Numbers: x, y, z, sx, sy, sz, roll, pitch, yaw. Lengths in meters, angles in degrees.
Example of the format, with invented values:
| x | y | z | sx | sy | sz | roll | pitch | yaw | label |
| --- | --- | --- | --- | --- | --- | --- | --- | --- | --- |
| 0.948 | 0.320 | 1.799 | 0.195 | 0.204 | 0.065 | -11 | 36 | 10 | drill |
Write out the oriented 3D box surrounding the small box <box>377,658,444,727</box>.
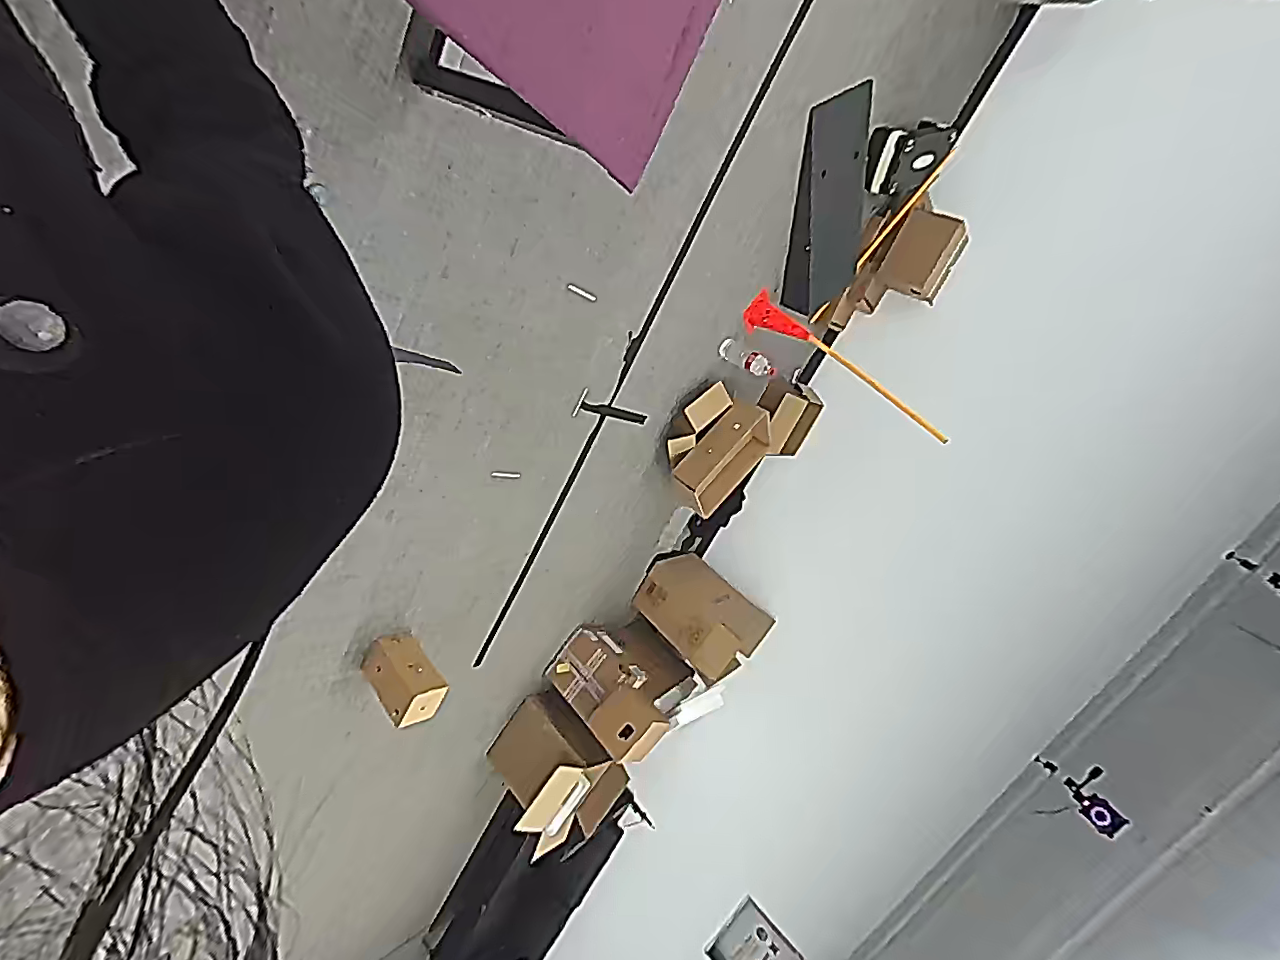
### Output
| x | y | z | sx | sy | sz | roll | pitch | yaw | label |
| --- | --- | --- | --- | --- | --- | --- | --- | --- | --- |
| -0.944 | 0.865 | 2.215 | 0.168 | 0.176 | 0.179 | 9 | 114 | -59 | small box |
